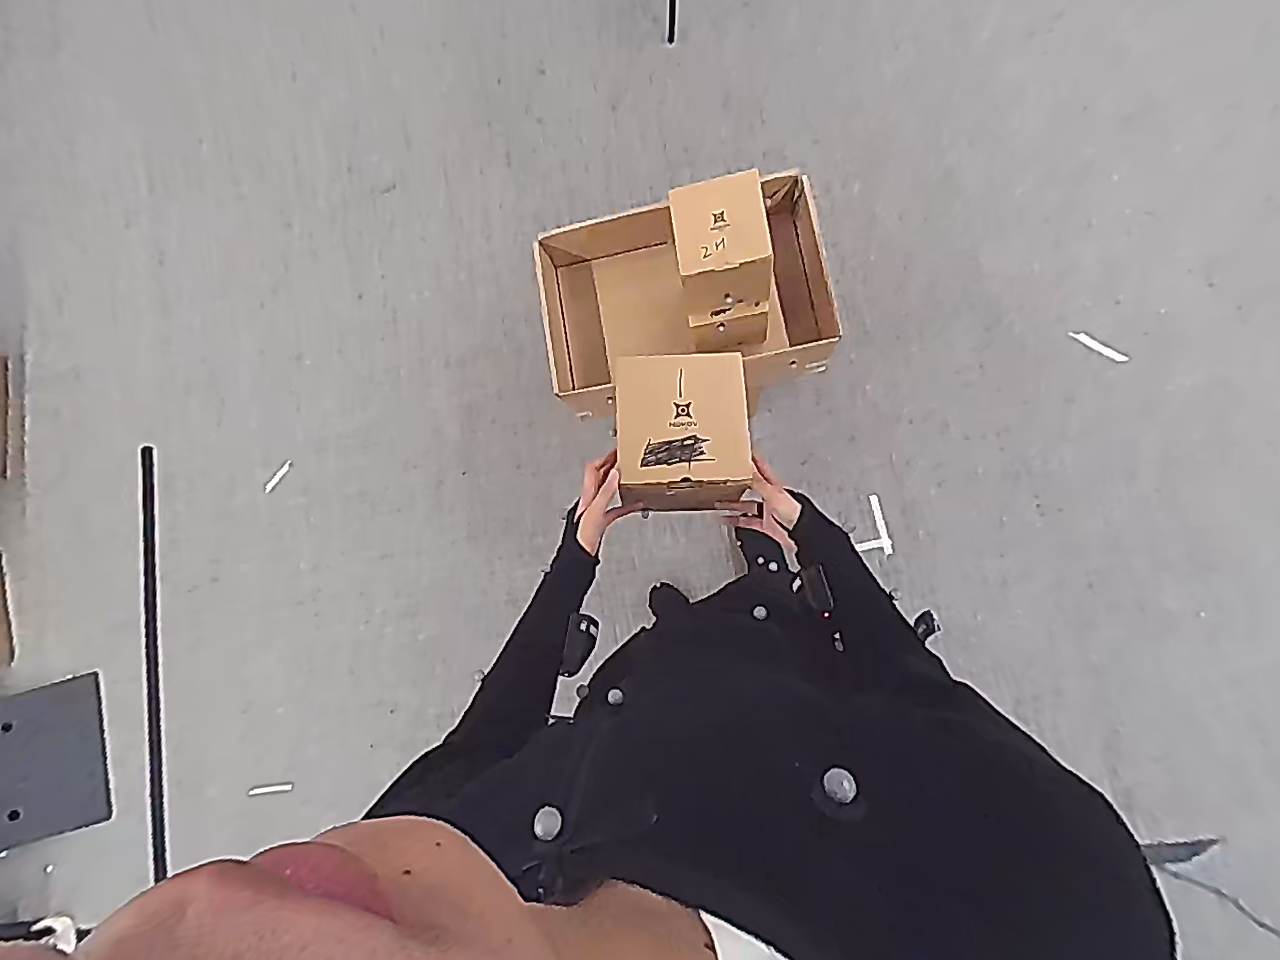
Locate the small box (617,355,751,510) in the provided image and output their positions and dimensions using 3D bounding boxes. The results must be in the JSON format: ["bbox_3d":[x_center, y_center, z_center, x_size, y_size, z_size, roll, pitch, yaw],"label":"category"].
[{"bbox_3d":[0.056,-0.056,0.751,0.168,0.176,0.179,-1,74,0],"label":"small box"}]

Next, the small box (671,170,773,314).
[{"bbox_3d":[0.157,-0.446,1.039,0.168,0.176,0.179,-9,82,10],"label":"small box"}]
